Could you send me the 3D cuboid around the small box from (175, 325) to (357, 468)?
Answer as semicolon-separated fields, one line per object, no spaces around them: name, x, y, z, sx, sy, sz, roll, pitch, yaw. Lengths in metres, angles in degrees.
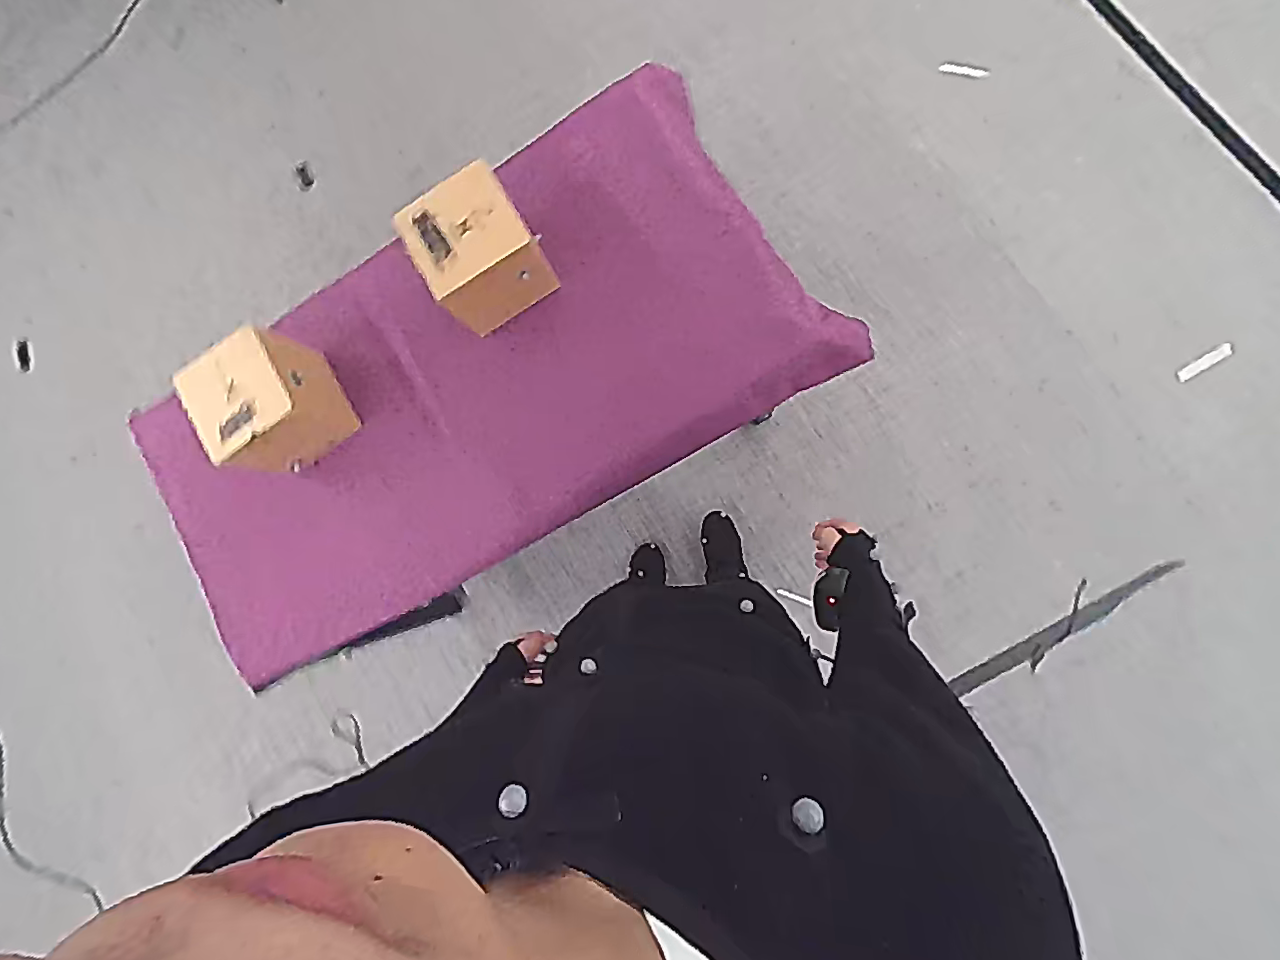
small box;-0.646;-0.134;0.953;0.168;0.176;0.179;-33;82;4
